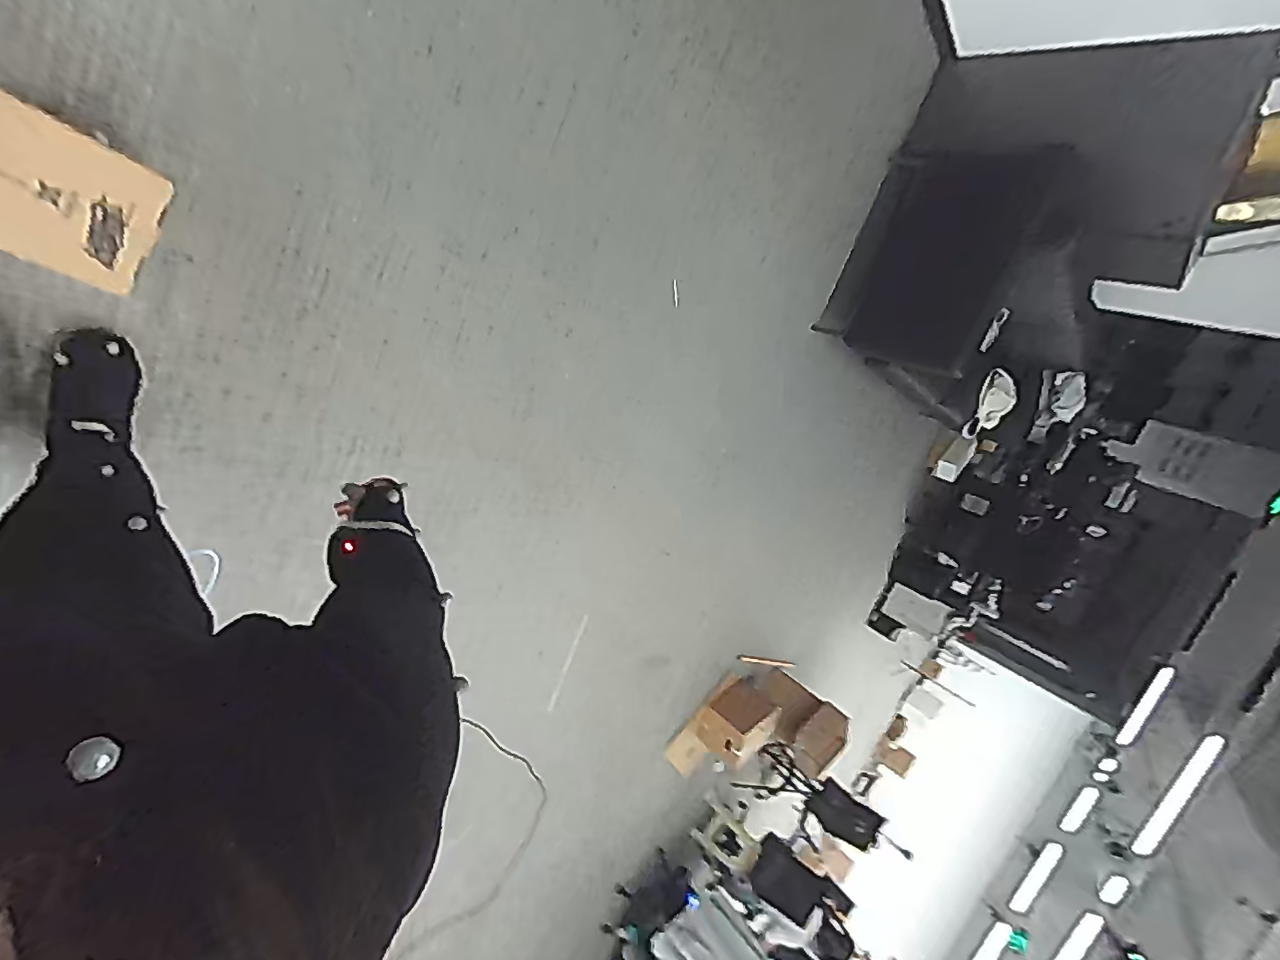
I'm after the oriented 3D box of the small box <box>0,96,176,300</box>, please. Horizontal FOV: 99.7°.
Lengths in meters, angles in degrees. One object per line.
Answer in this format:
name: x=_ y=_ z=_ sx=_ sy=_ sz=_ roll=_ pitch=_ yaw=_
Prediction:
small box: x=-0.749 y=-0.362 z=0.699 sx=0.179 sy=0.176 sz=0.168 roll=22 pitch=96 yaw=-50
